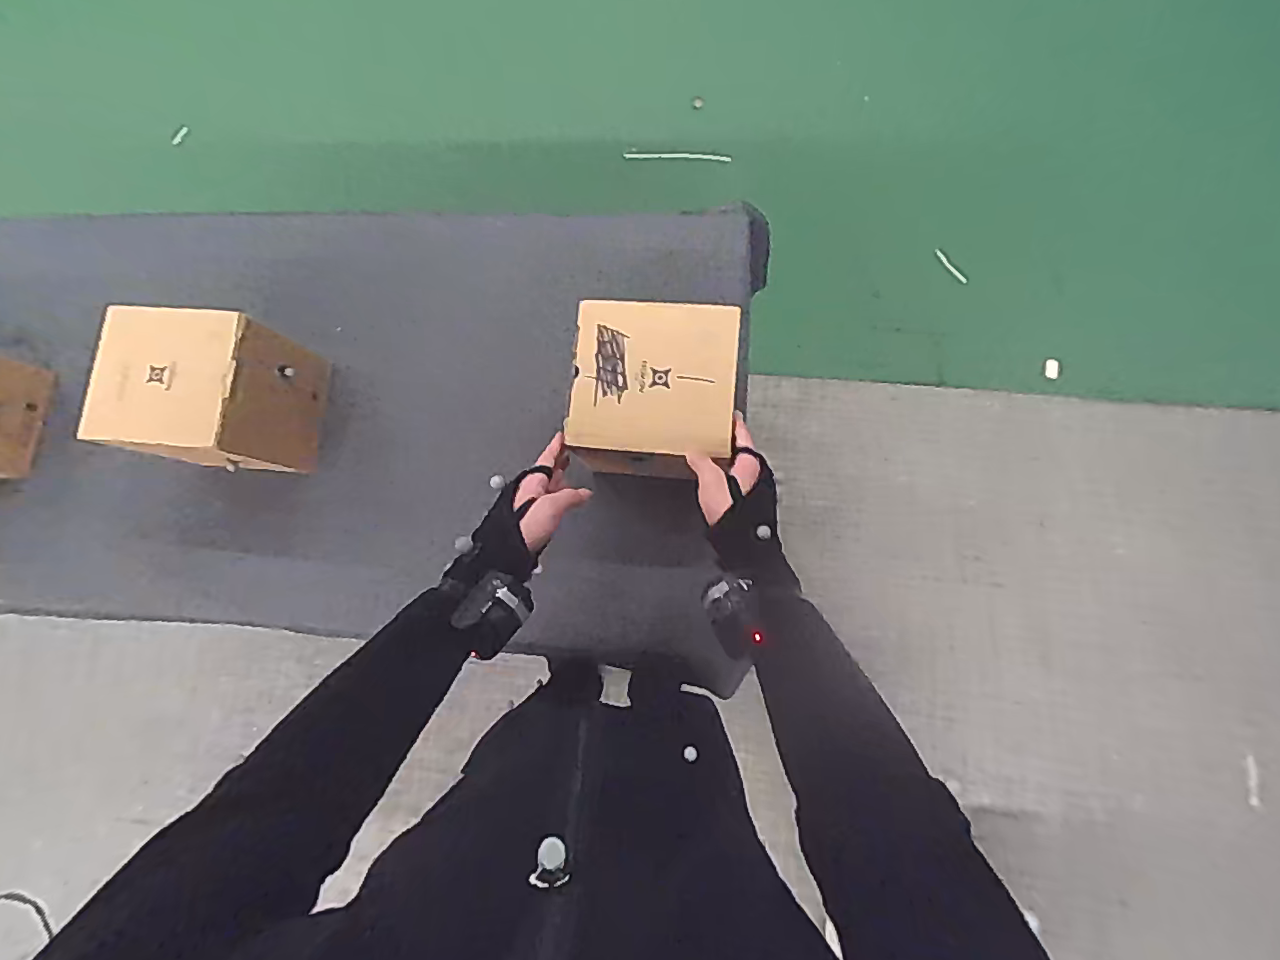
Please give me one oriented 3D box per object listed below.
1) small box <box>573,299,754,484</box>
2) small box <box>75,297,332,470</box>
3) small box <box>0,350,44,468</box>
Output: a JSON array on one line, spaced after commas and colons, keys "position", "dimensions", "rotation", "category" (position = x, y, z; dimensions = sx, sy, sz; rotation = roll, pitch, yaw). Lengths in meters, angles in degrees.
[{"position": [0.031, -0.094, 0.642], "dimensions": [0.179, 0.176, 0.168], "rotation": [6, 81, 4], "category": "small box"}, {"position": [-0.533, -0.112, 0.688], "dimensions": [0.179, 0.176, 0.168], "rotation": [4, 79, 6], "category": "small box"}, {"position": [-0.971, -0.113, 0.715], "dimensions": [0.179, 0.176, 0.168], "rotation": [5, 80, 3], "category": "small box"}]
